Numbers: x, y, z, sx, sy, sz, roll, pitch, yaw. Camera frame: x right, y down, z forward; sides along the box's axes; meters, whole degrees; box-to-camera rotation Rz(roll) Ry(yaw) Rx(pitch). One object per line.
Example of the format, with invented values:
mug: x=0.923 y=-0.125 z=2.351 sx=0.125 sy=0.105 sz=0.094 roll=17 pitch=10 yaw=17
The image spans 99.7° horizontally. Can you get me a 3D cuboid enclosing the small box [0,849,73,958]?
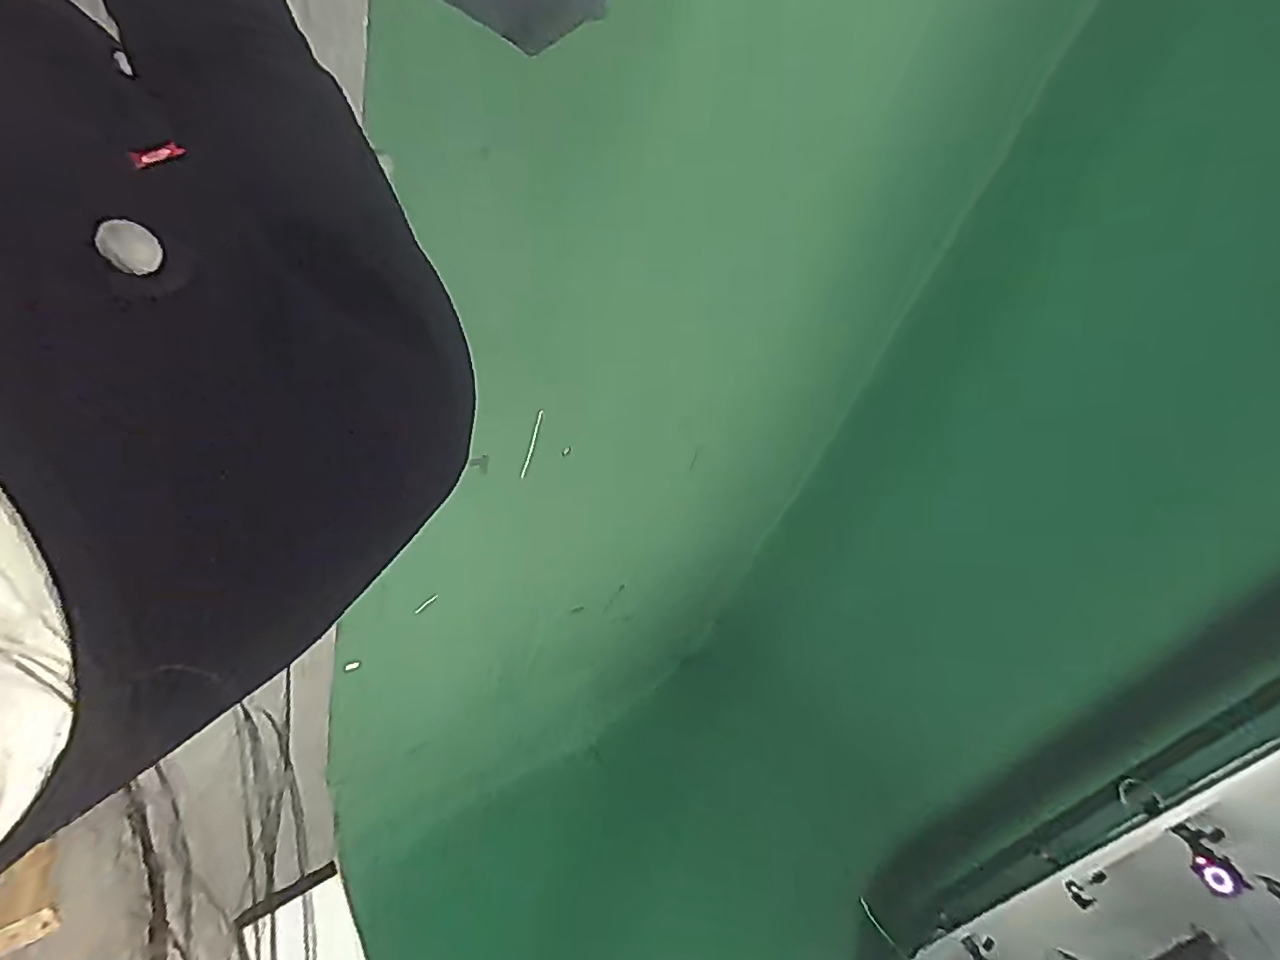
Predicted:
small box: x=-1.774 y=1.223 z=1.560 sx=0.179 sy=0.176 sz=0.168 roll=-8 pitch=133 yaw=-44

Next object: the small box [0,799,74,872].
small box: x=-1.873 y=1.127 z=1.649 sx=0.179 sy=0.176 sz=0.168 roll=-13 pitch=136 yaw=-44
